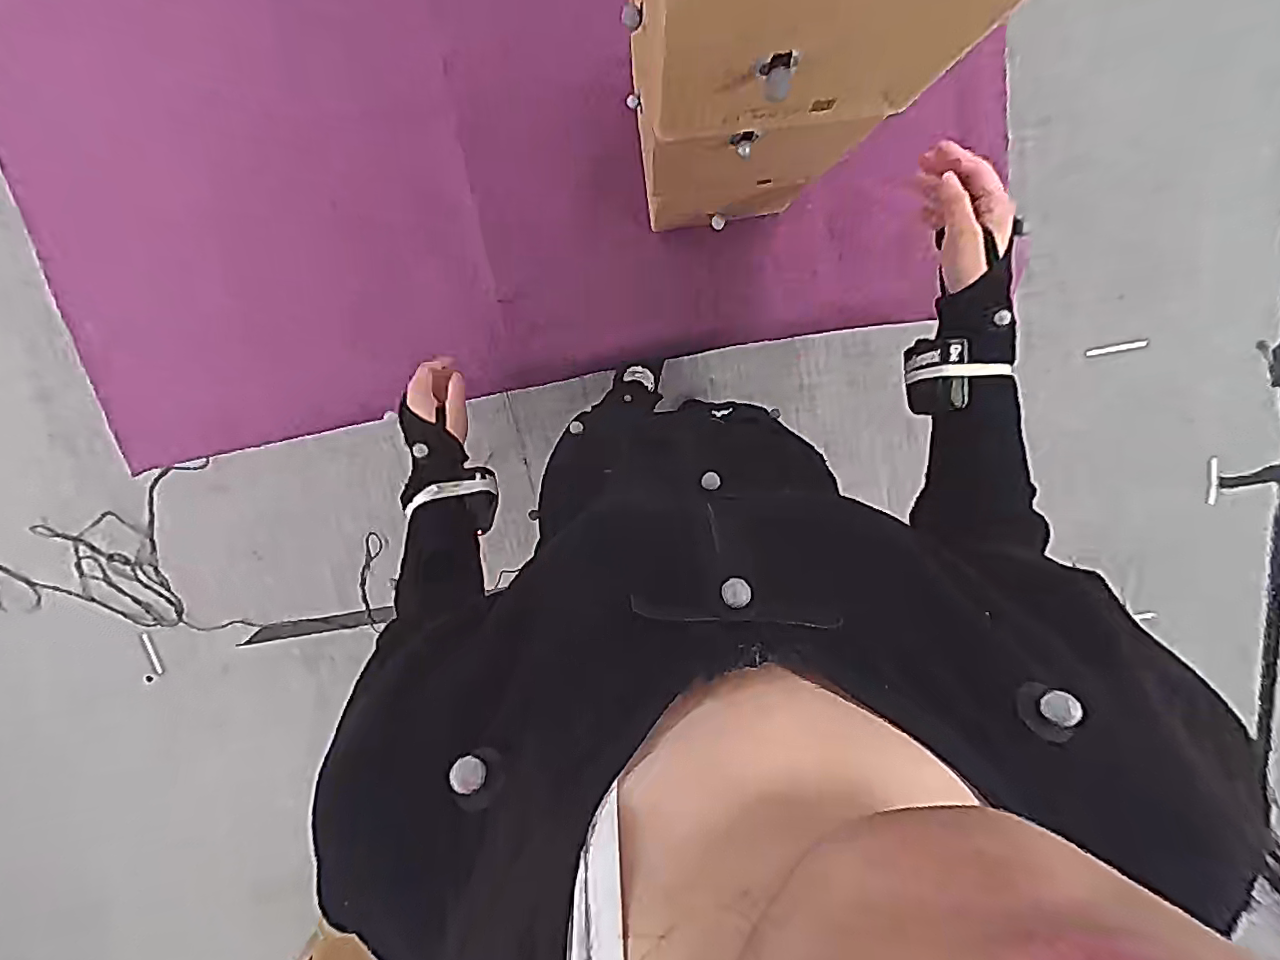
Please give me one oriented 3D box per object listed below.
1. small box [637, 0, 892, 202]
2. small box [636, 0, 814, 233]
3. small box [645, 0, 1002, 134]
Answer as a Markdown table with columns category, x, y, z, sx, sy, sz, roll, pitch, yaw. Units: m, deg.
| category | x | y | z | sx | sy | sz | roll | pitch | yaw |
| --- | --- | --- | --- | --- | --- | --- | --- | --- | --- |
| small box | 0.084 | -0.340 | 0.419 | 0.168 | 0.176 | 0.179 | -5 | 103 | 3 |
| small box | 0.086 | -0.383 | 0.577 | 0.168 | 0.176 | 0.179 | -7 | 104 | 3 |
| small box | 0.084 | -0.294 | 0.262 | 0.168 | 0.176 | 0.179 | -6 | 103 | 3 |
